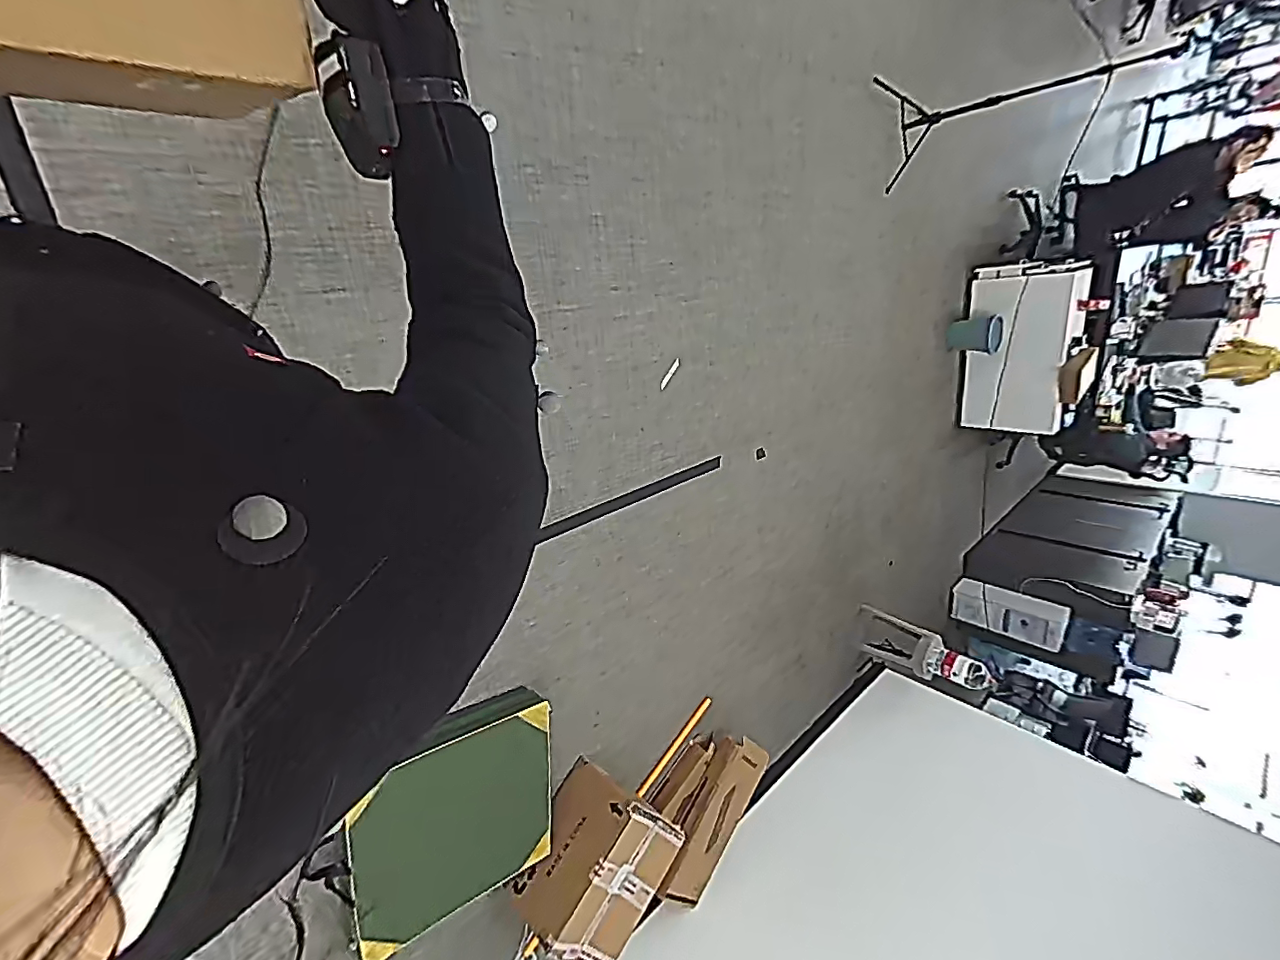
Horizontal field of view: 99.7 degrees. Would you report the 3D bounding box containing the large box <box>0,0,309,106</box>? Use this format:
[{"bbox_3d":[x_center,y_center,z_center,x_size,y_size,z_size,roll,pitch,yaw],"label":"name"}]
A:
[{"bbox_3d":[-0.451,-0.389,0.251,0.408,0.320,0.320,-21,127,-37],"label":"large box"}]
